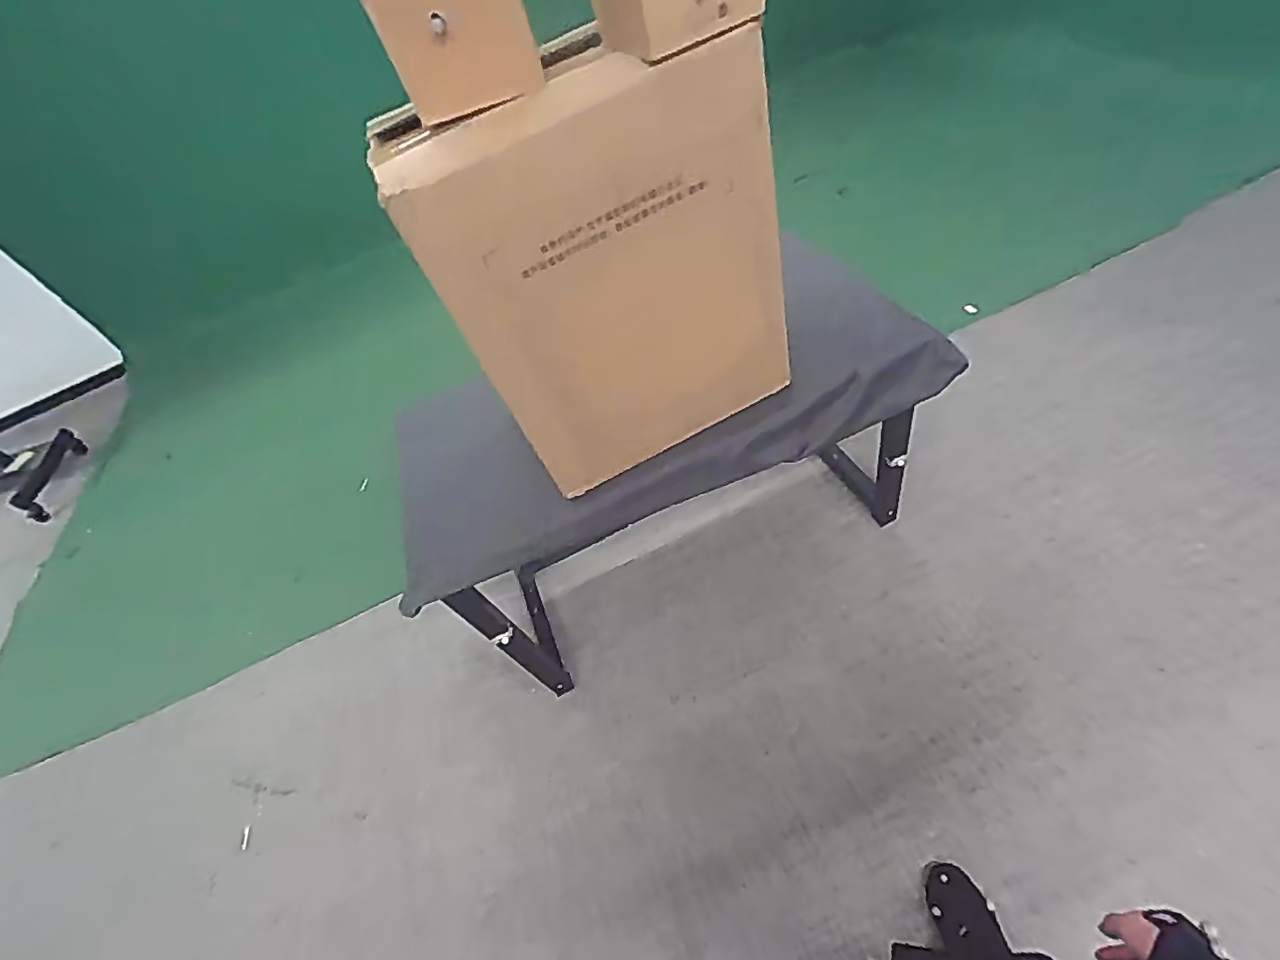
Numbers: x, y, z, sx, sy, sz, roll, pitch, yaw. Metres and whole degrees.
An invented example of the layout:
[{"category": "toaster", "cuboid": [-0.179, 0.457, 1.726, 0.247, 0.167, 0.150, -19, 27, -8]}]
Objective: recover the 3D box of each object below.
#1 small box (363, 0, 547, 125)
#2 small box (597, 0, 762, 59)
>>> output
[{"category": "small box", "cuboid": [-0.239, -0.605, 0.707, 0.179, 0.176, 0.168, -17, 57, 5]}, {"category": "small box", "cuboid": [0.035, -0.656, 0.670, 0.168, 0.176, 0.179, -27, 50, -4]}]
